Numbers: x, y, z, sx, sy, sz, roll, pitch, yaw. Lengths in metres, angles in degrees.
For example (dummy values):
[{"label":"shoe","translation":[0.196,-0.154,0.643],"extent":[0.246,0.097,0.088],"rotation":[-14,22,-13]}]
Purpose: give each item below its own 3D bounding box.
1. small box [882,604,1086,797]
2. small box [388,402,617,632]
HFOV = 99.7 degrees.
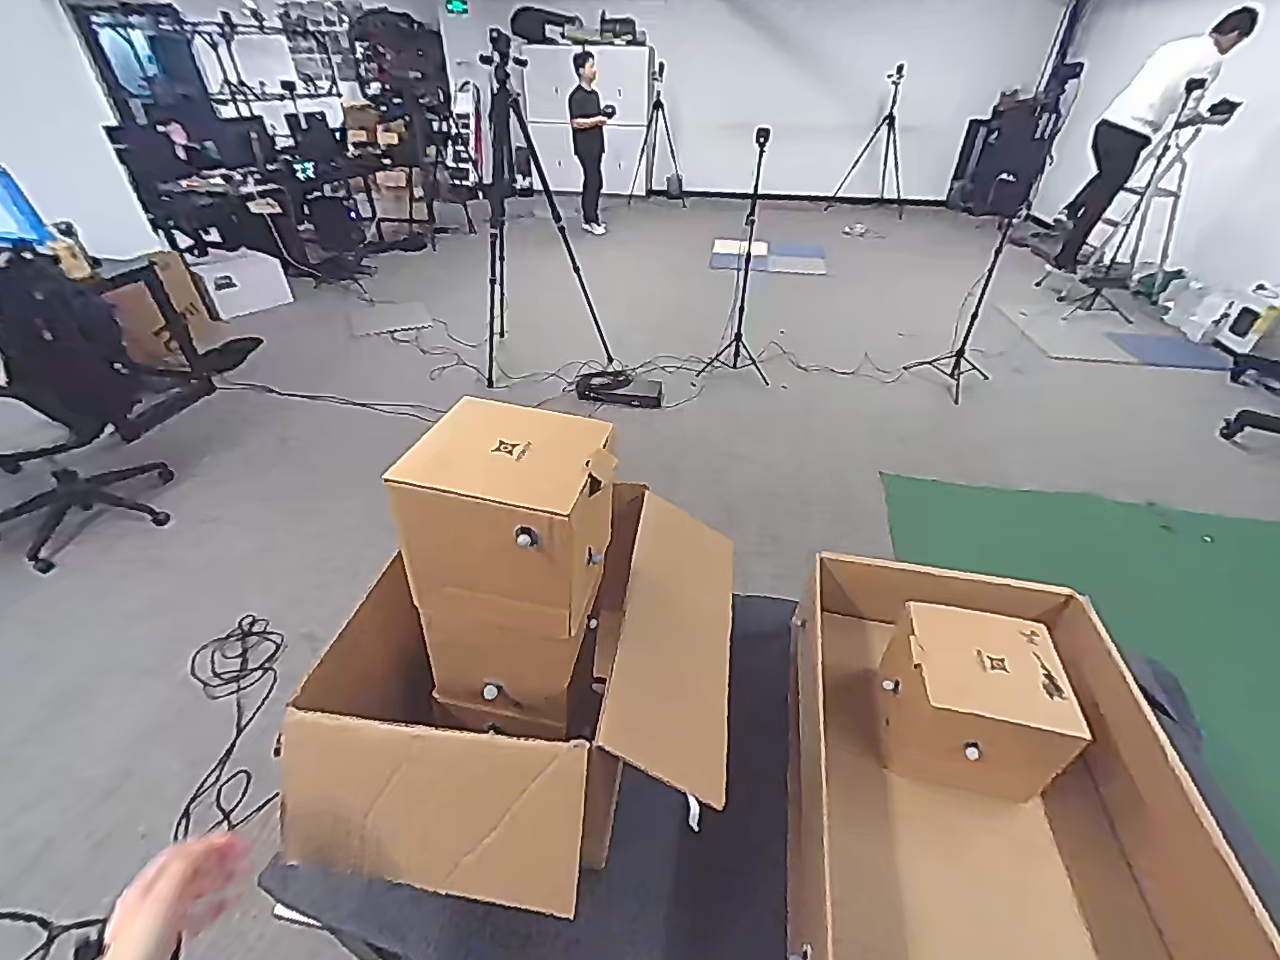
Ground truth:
[{"label":"small box","translation":[0.438,0.297,0.730],"extent":[0.179,0.176,0.168],"rotation":[7,39,12]},{"label":"small box","translation":[-0.131,0.038,0.577],"extent":[0.179,0.176,0.168],"rotation":[11,36,6]}]
